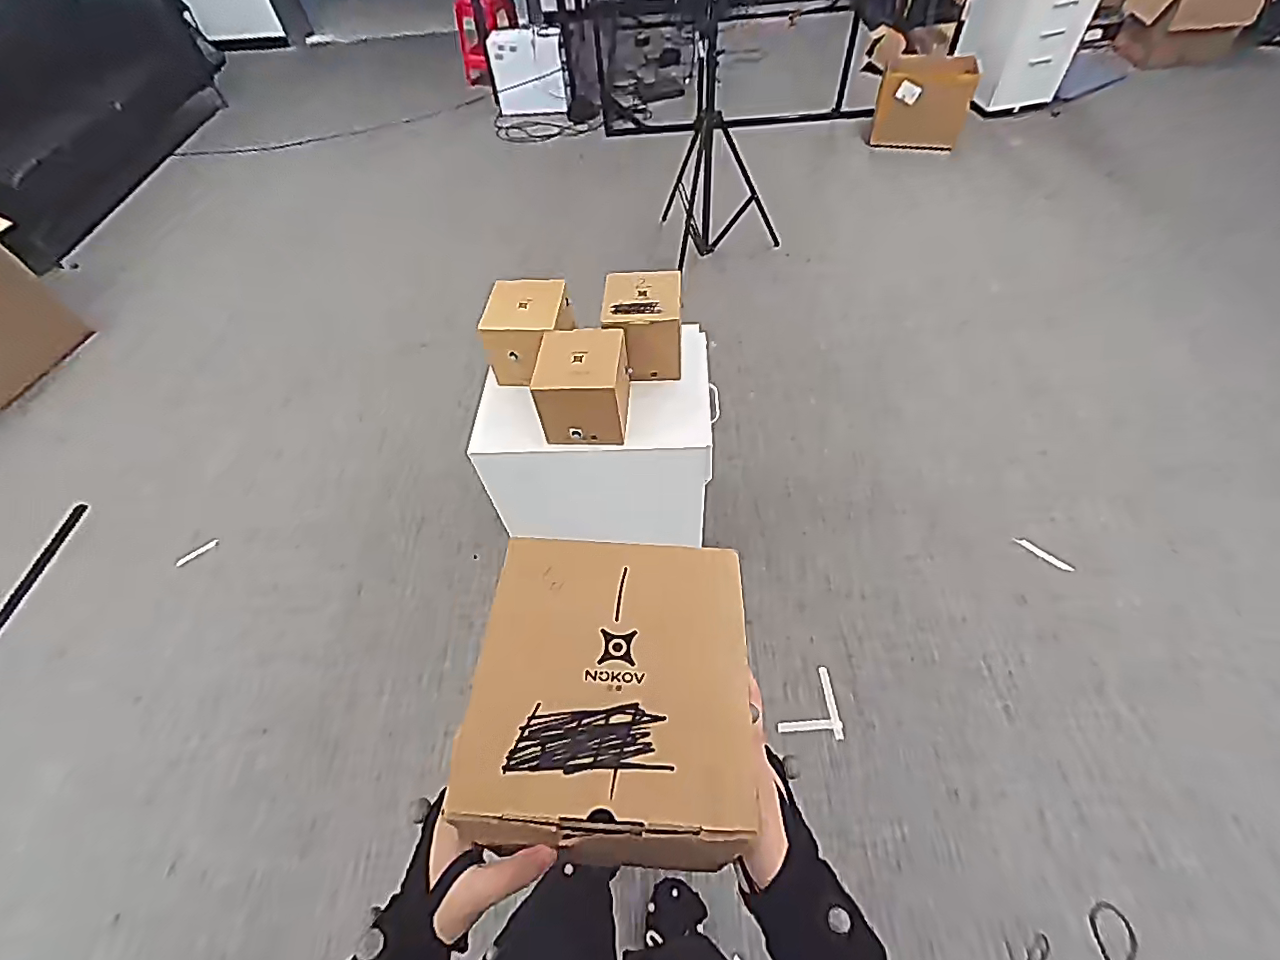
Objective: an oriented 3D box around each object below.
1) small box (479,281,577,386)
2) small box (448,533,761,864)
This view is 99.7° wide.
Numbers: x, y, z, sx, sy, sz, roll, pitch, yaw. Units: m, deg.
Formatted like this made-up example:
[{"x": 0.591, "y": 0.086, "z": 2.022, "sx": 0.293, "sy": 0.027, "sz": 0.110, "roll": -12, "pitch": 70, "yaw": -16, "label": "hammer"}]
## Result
[{"x": -0.244, "y": -0.328, "z": 1.229, "sx": 0.168, "sy": 0.176, "sz": 0.179, "roll": 1, "pitch": 54, "yaw": 5, "label": "small box"}, {"x": -0.015, "y": 0.159, "z": 0.389, "sx": 0.168, "sy": 0.176, "sz": 0.179, "roll": 3, "pitch": 48, "yaw": 1, "label": "small box"}]
